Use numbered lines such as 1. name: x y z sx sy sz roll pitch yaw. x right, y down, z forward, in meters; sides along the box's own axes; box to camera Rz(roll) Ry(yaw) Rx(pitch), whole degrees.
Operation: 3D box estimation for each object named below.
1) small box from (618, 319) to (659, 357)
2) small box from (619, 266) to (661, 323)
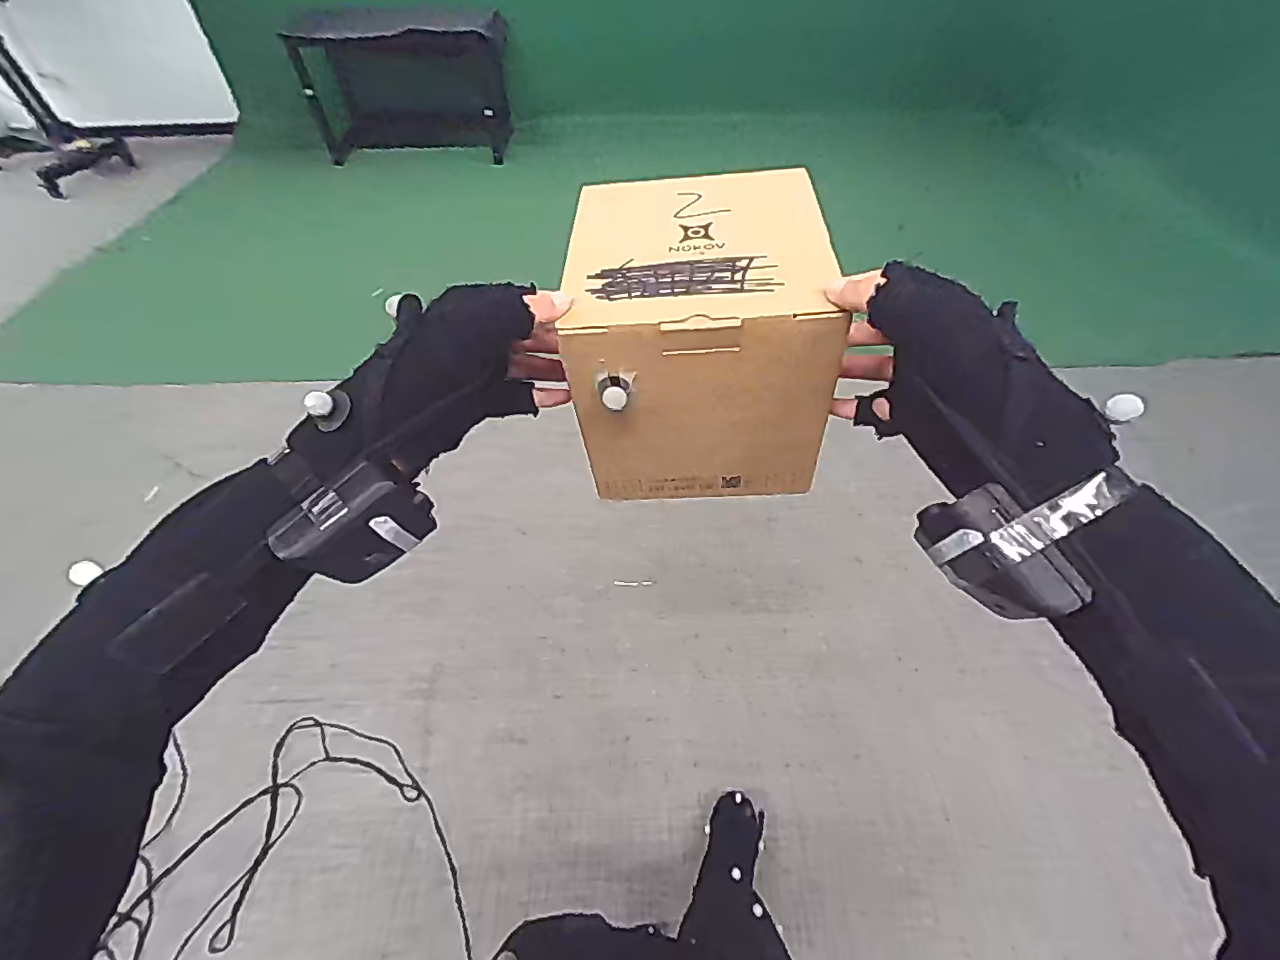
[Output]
1. small box: -0.002 -0.661 2.391 0.168 0.176 0.179 2 47 3
2. small box: 0.001 -0.779 2.278 0.168 0.176 0.179 3 49 4
